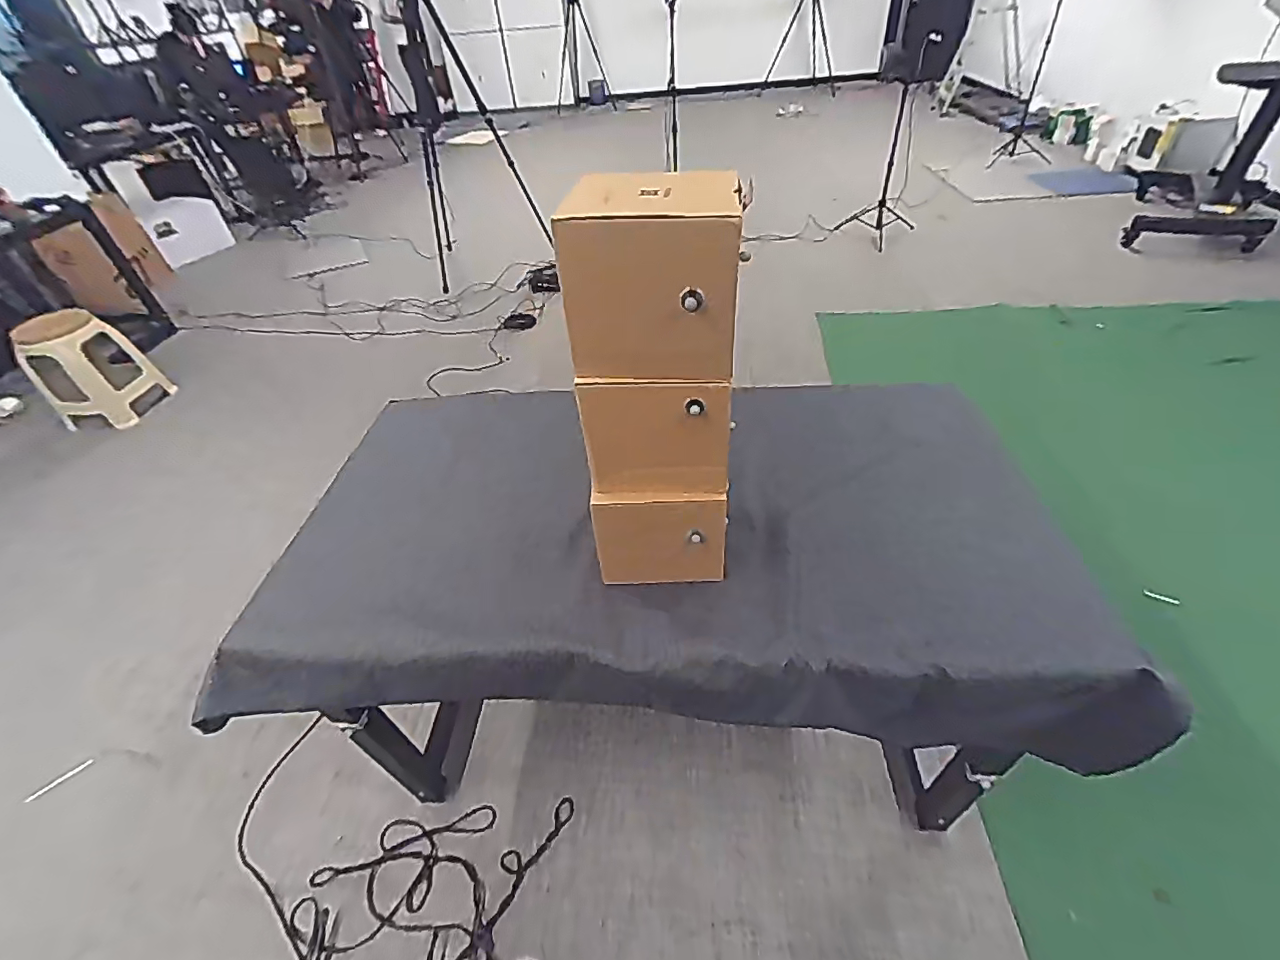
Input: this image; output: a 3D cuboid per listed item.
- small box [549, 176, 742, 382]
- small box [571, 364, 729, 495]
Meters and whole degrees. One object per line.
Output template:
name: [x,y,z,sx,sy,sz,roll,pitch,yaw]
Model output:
small box: [0.016,-0.218,0.593,0.179,0.176,0.168,1,41,7]
small box: [0.020,-0.093,0.697,0.179,0.176,0.168,0,42,5]
